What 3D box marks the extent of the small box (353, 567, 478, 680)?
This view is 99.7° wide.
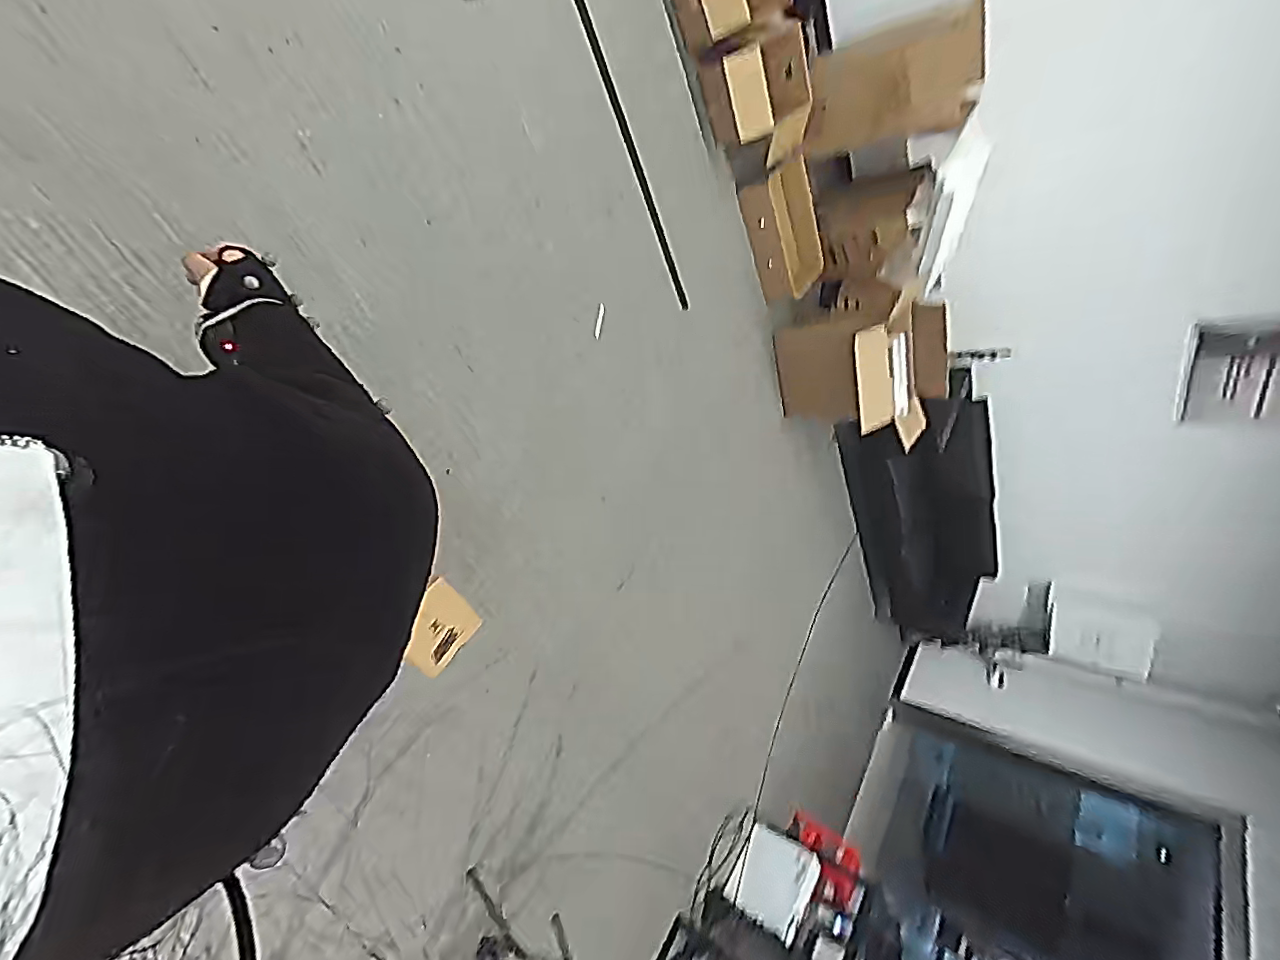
[{"bbox_3d":[-0.521,0.326,1.258,0.168,0.176,0.179,-51,130,-31],"label":"small box"}]
